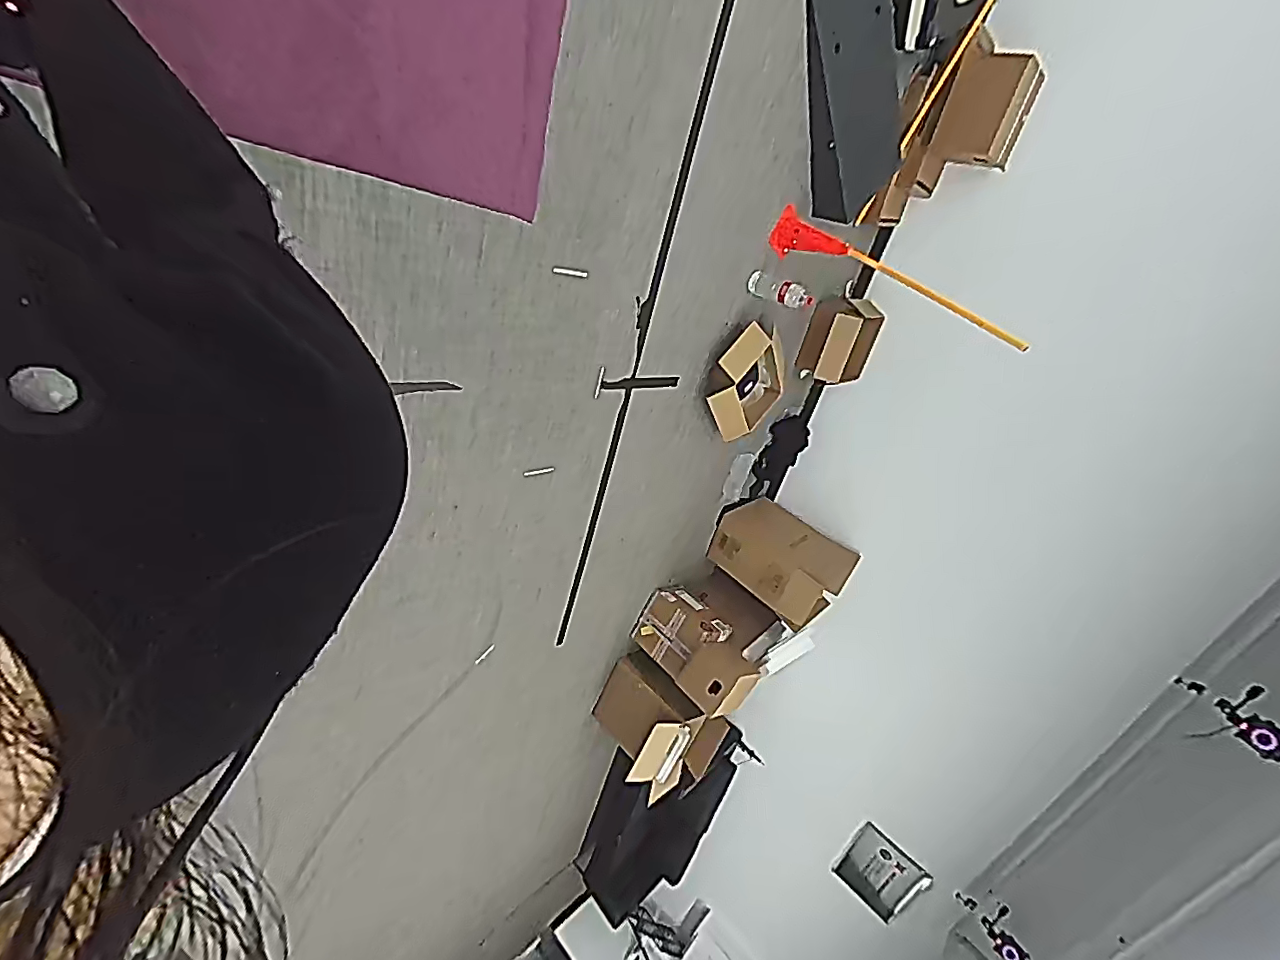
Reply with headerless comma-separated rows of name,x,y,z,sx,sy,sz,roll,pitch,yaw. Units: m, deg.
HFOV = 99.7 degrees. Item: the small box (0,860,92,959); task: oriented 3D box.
small box,-1.662,1.207,1.493,0.168,0.176,0.179,-21,135,-44
